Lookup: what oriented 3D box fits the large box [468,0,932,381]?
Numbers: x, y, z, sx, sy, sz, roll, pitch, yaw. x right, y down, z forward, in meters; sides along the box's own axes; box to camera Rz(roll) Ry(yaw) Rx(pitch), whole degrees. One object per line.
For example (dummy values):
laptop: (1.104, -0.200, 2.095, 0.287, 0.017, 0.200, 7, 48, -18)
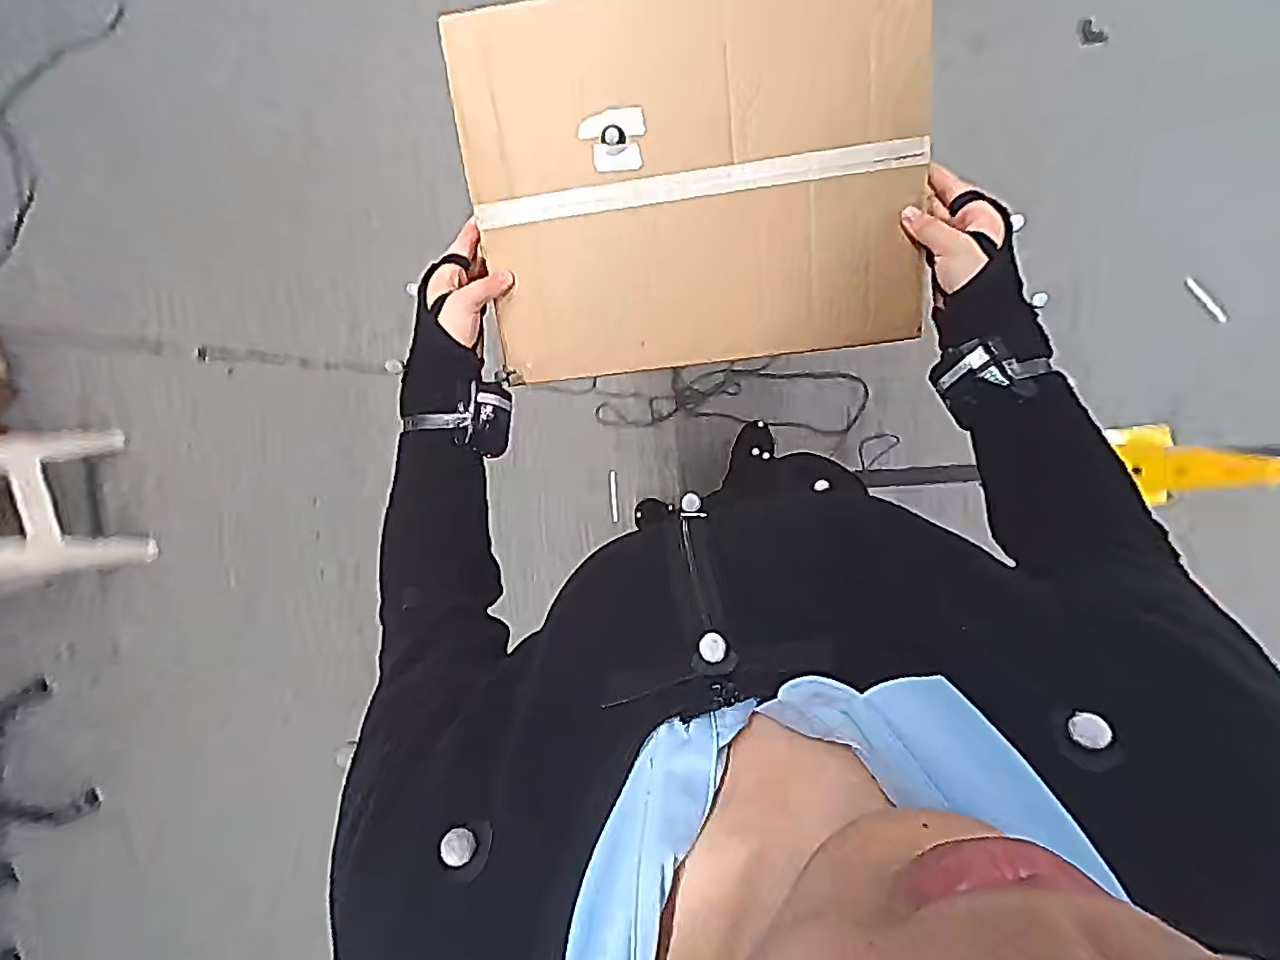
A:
large box: (0.071, -0.313, 0.641, 0.408, 0.320, 0.320, -5, 106, 5)
